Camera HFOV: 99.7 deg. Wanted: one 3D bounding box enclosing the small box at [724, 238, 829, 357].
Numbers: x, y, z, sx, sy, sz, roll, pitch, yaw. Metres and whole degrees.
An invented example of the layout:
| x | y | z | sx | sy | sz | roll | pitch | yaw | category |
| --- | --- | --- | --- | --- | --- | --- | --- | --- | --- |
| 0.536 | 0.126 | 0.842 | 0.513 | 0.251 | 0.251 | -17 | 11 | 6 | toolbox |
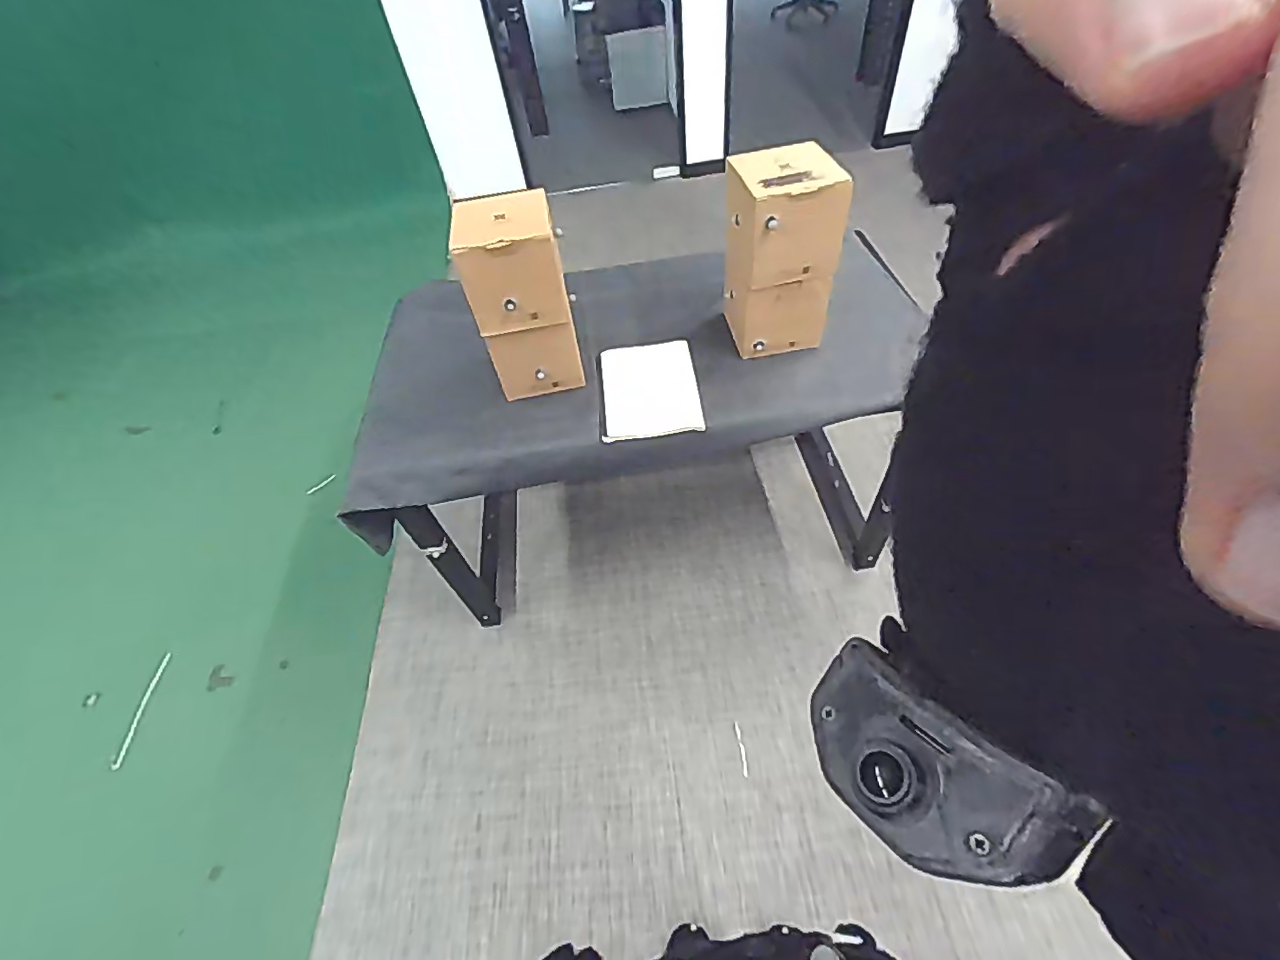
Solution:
| x | y | z | sx | sy | sz | roll | pitch | yaw | category |
| --- | --- | --- | --- | --- | --- | --- | --- | --- | --- |
| 0.274 | -0.372 | 1.124 | 0.168 | 0.176 | 0.179 | -9 | 50 | -1 | small box |

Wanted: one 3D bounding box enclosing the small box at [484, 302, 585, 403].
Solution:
| x | y | z | sx | sy | sz | roll | pitch | yaw | category |
| --- | --- | --- | --- | --- | --- | --- | --- | --- | --- |
| -0.214 | -0.285 | 1.111 | 0.168 | 0.176 | 0.179 | -12 | 51 | -3 | small box |

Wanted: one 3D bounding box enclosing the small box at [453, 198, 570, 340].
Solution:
| x | y | z | sx | sy | sz | roll | pitch | yaw | category |
| --- | --- | --- | --- | --- | --- | --- | --- | --- | --- |
| -0.227 | -0.381 | 0.980 | 0.168 | 0.176 | 0.179 | -11 | 50 | -3 | small box |
